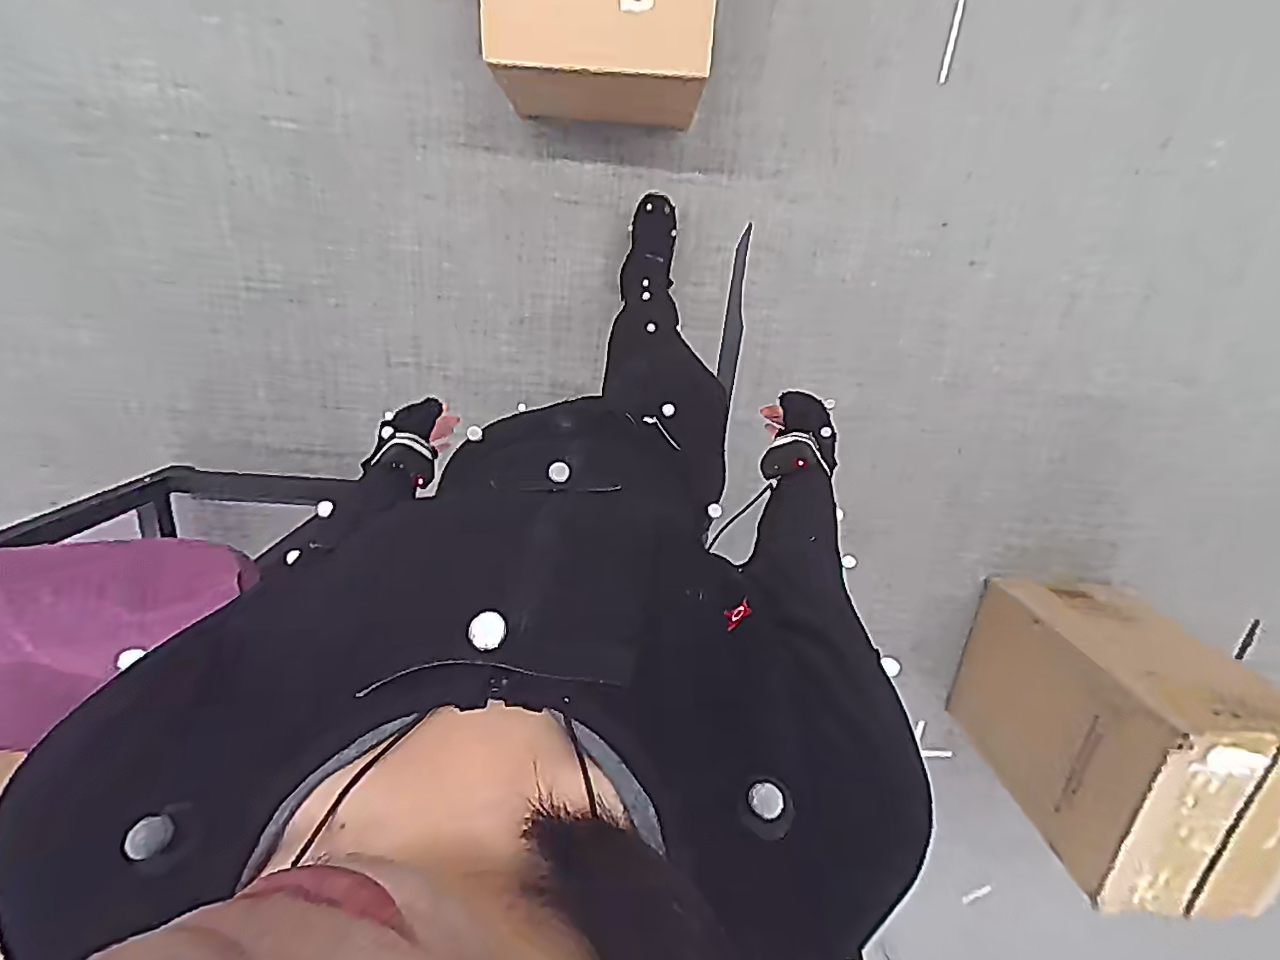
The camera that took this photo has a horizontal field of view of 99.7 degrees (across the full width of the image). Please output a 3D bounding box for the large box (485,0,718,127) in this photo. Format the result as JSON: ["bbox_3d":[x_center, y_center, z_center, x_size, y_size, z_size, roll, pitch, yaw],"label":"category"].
[{"bbox_3d":[-0.069,-0.908,1.042,0.408,0.320,0.320,2,110,-3],"label":"large box"}]
